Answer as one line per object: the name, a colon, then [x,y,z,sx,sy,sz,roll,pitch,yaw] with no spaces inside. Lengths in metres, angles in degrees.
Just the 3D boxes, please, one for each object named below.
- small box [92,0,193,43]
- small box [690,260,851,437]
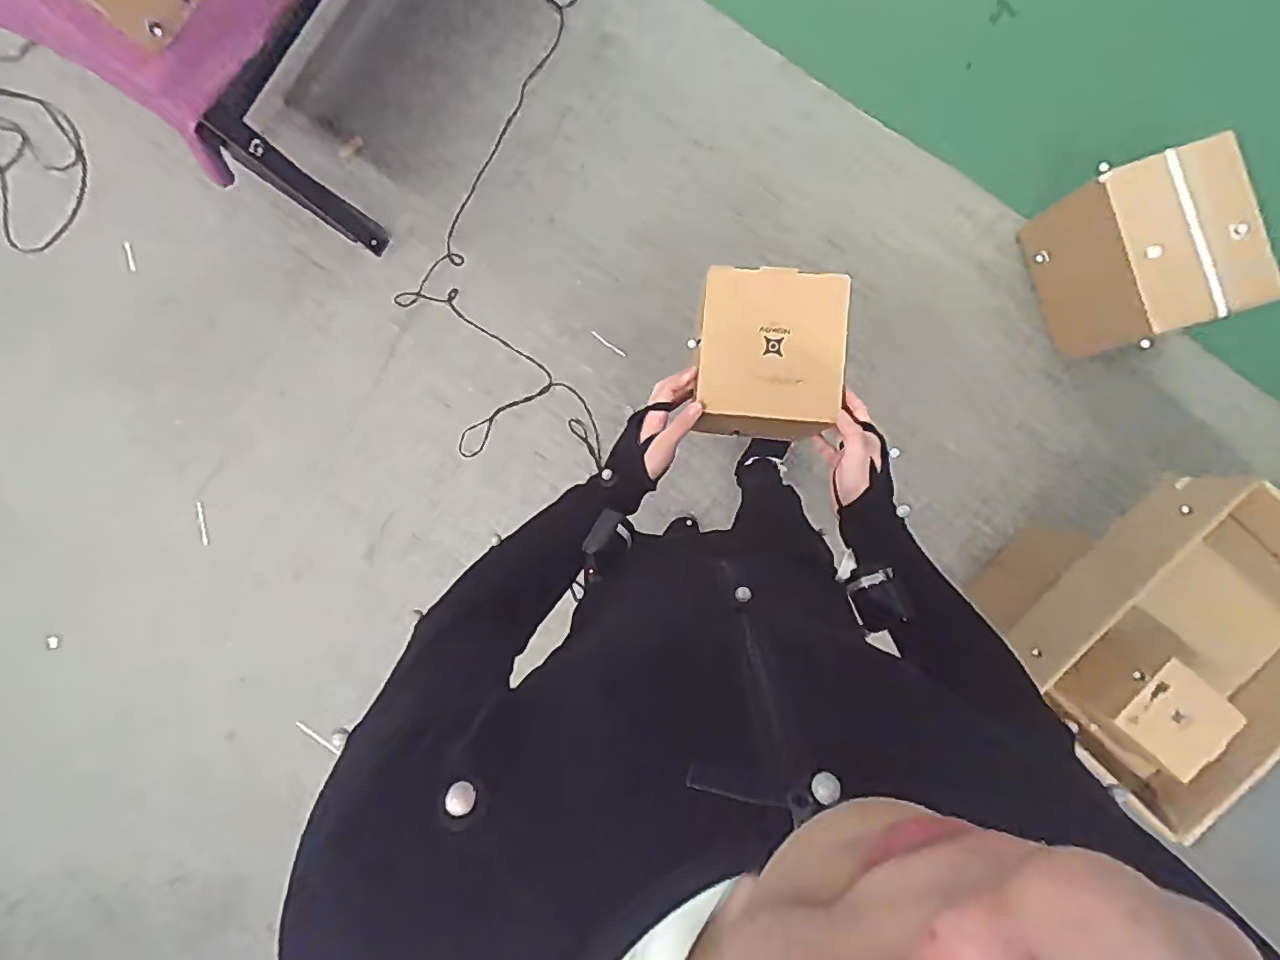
small box: [-0.851,-0.851,0.853,0.179,0.176,0.168,39,92,4]
small box: [0.156,-0.157,0.695,0.168,0.176,0.179,5,88,2]
